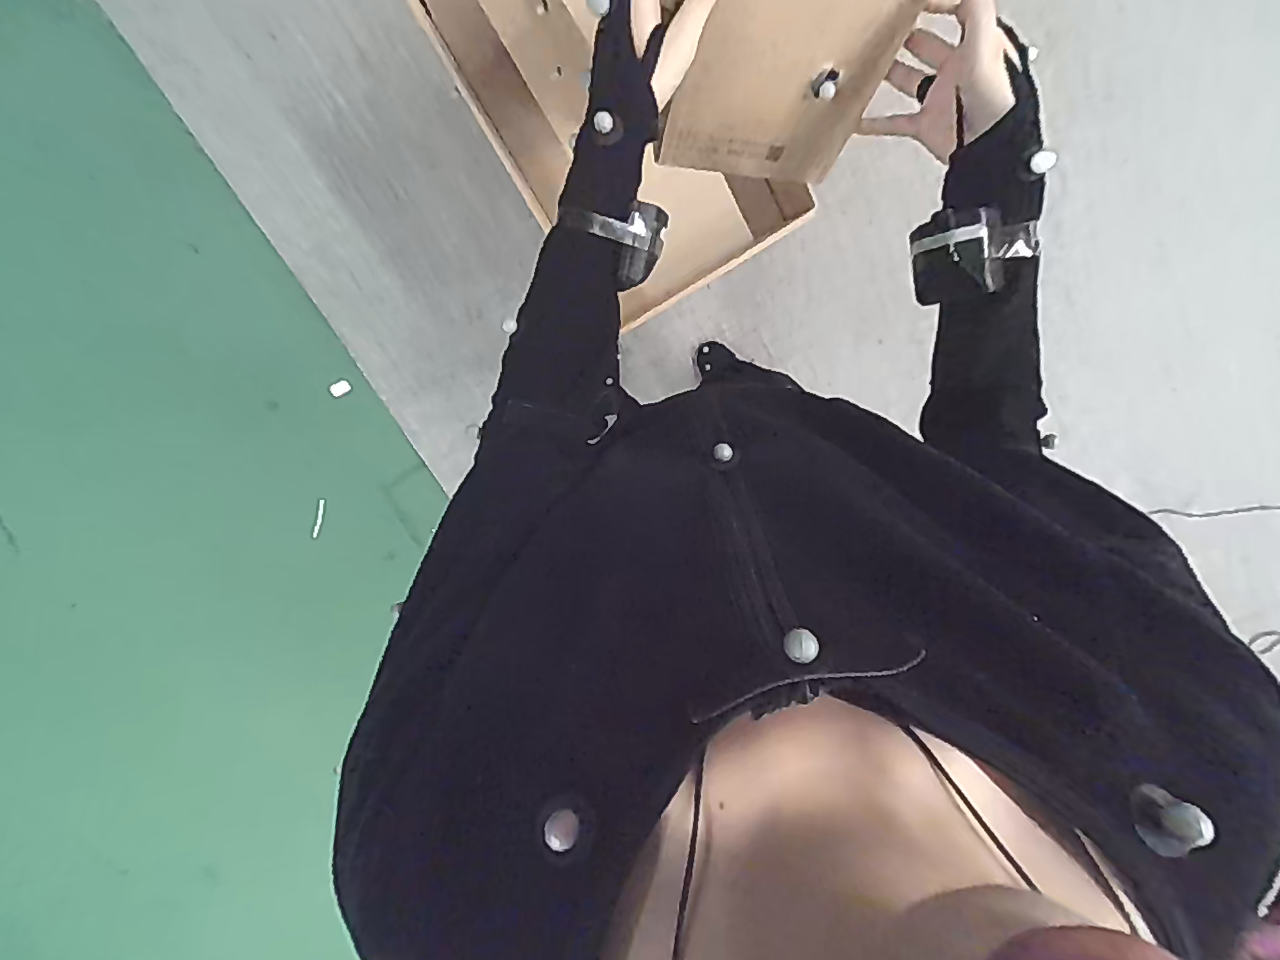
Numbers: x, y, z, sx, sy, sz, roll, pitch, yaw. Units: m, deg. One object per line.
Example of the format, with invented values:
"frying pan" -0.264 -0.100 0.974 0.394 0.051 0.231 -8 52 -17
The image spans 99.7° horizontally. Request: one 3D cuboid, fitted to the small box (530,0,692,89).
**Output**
"small box" -0.043 -0.618 0.653 0.168 0.176 0.179 -35 108 6
